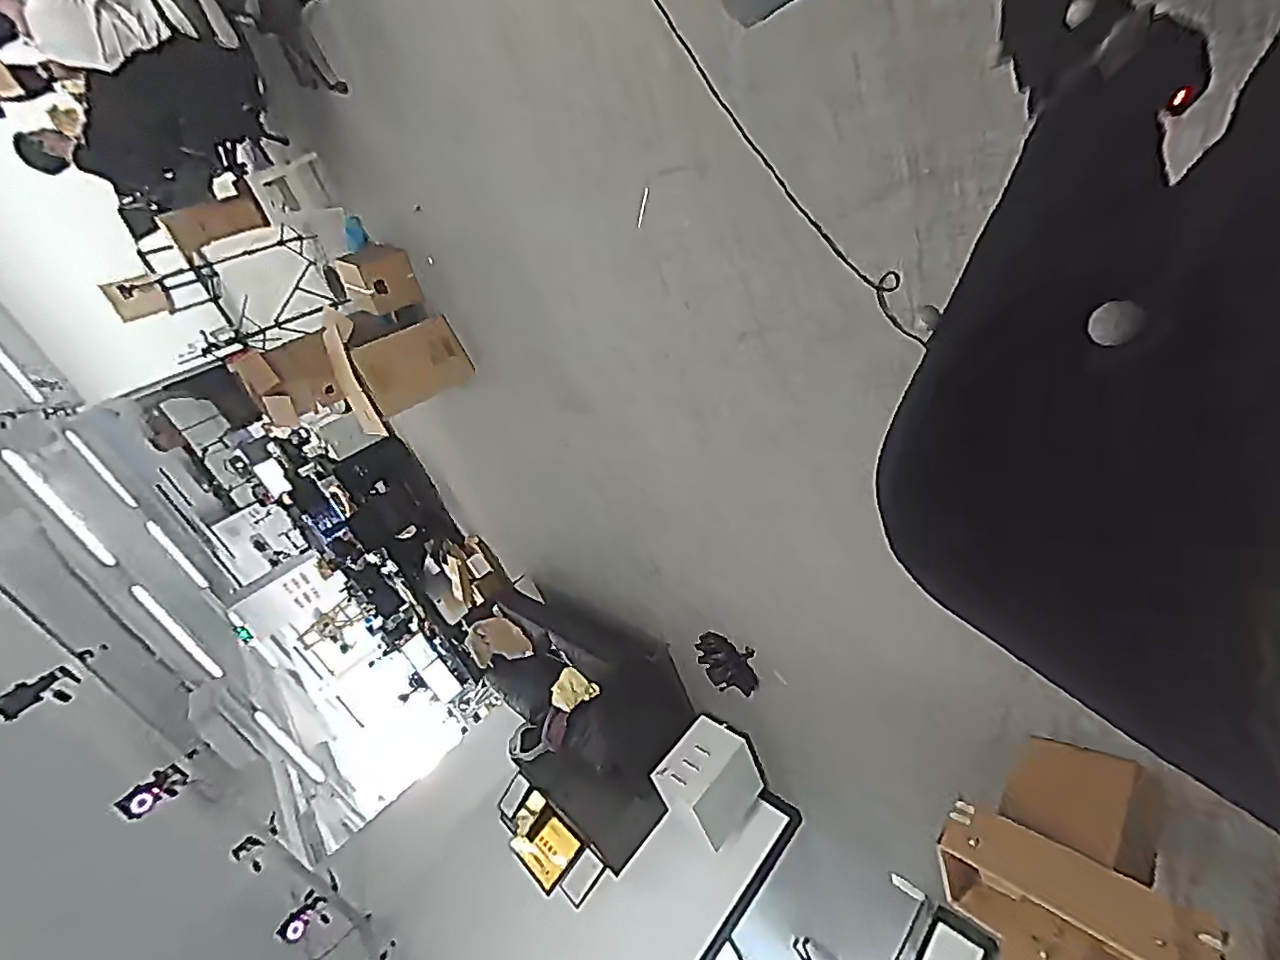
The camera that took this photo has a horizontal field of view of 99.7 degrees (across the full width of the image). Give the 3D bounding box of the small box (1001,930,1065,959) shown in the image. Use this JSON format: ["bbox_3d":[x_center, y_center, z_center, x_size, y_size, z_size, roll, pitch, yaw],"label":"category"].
[{"bbox_3d":[1.097,1.403,1.477,0.168,0.176,0.179,2,123,52],"label":"small box"}]

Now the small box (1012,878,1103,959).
[{"bbox_3d":[1.208,1.314,1.559,0.168,0.176,0.179,0,123,52],"label":"small box"}]
